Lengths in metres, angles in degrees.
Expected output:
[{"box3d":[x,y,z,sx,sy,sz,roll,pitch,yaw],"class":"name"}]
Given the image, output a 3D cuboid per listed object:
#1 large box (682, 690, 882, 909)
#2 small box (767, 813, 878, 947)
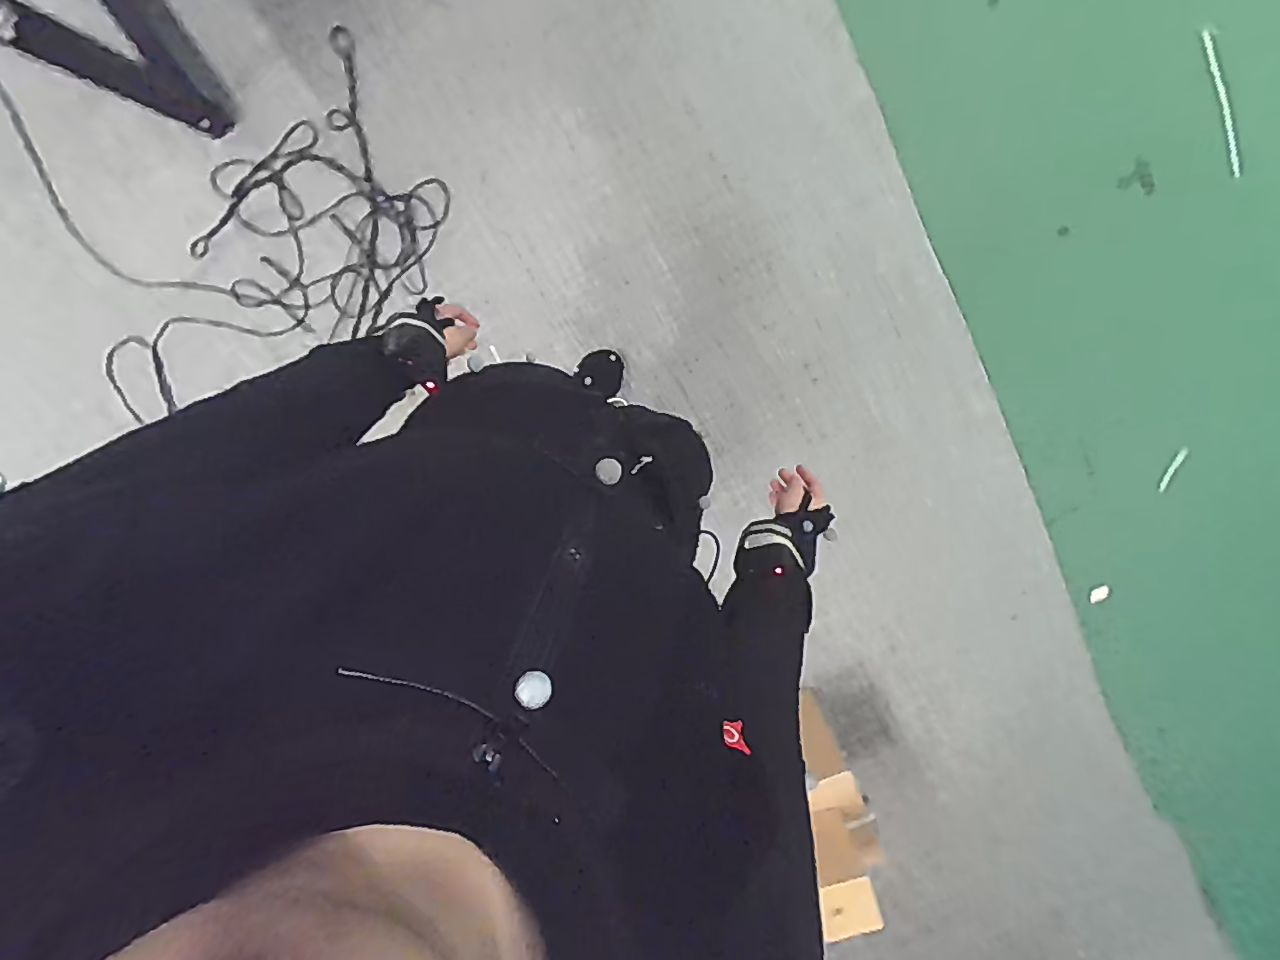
[{"box3d":[0.364,0.849,1.469,0.408,0.320,0.320,-24,105,6],"class":"large box"},{"box3d":[0.410,0.901,1.232,0.179,0.176,0.168,-18,107,4],"class":"small box"}]
